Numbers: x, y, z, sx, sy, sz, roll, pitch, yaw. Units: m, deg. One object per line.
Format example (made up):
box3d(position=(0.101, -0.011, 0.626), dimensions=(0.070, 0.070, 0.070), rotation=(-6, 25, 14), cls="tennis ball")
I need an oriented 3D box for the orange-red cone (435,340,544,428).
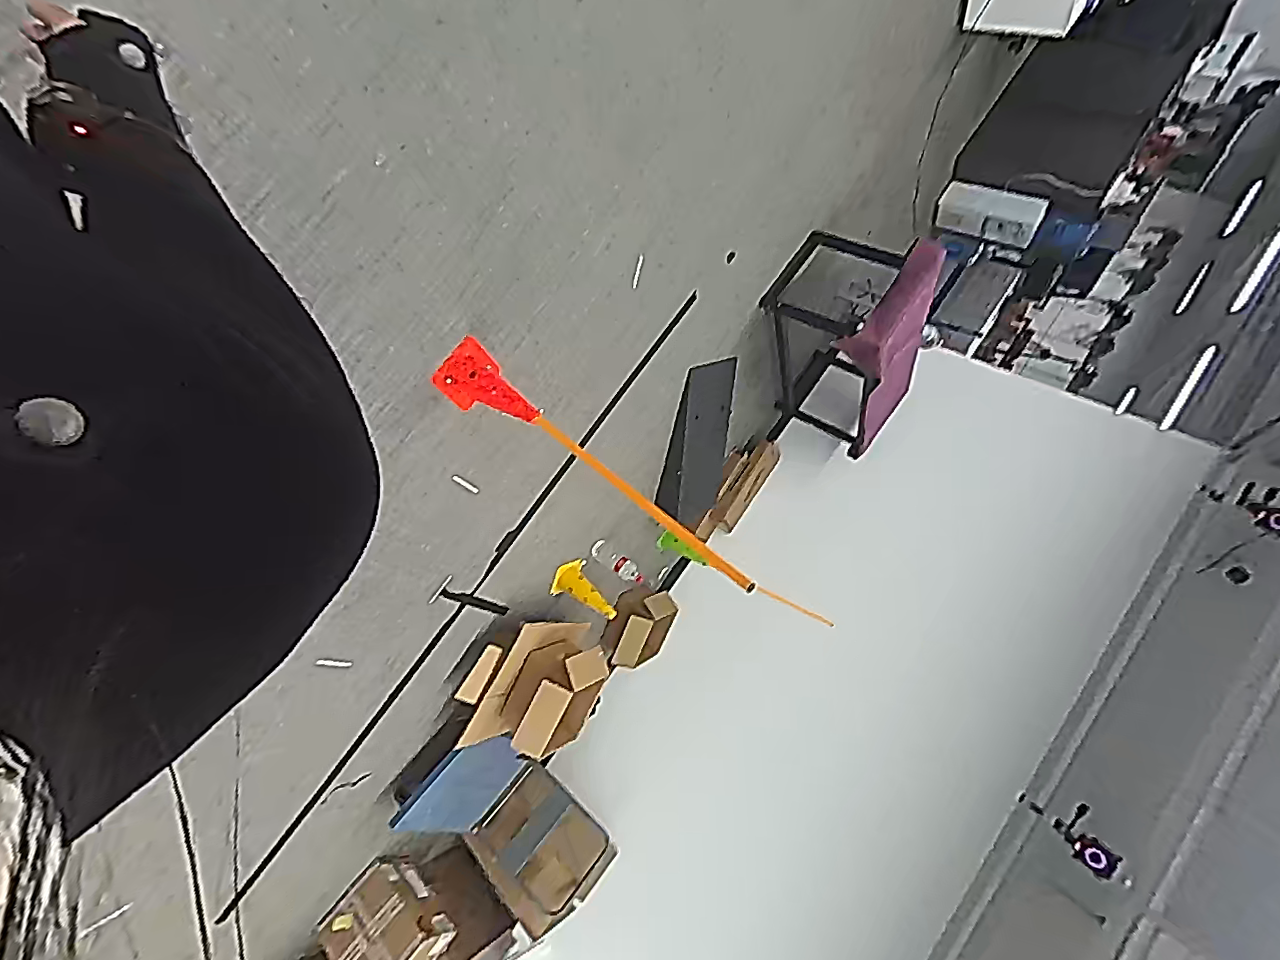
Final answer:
box3d(position=(-0.430, -0.257, 1.692), dimensions=(0.198, 0.360, 0.199), rotation=(-51, 152, -11), cls="orange-red cone")
